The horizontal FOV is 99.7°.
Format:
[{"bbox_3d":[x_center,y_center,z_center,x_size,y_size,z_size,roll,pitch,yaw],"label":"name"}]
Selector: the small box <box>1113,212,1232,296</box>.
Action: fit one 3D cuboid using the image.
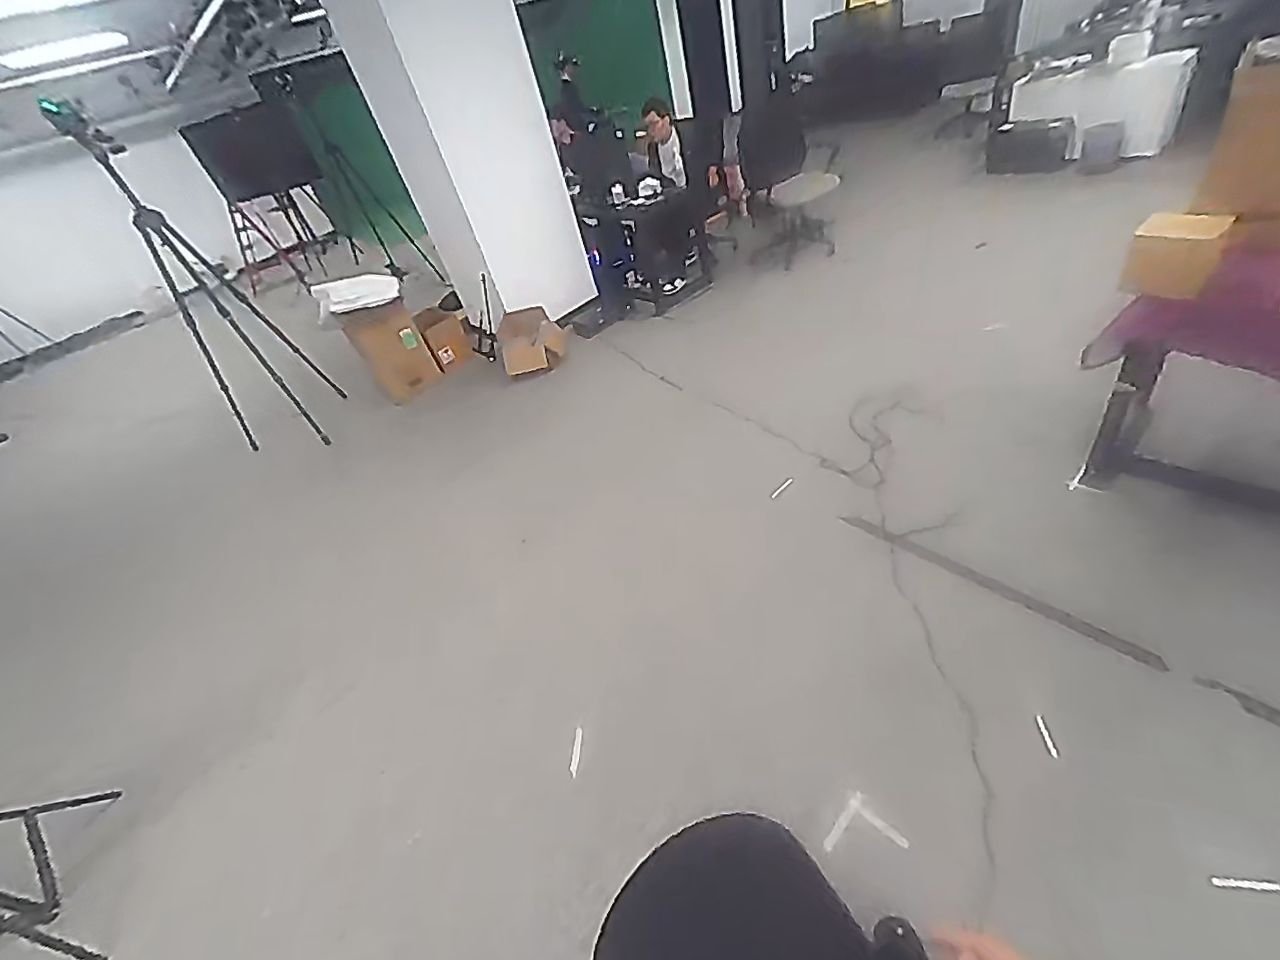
[{"bbox_3d":[1.479,-0.633,1.514,0.168,0.176,0.179,-37,44,-22],"label":"small box"}]
